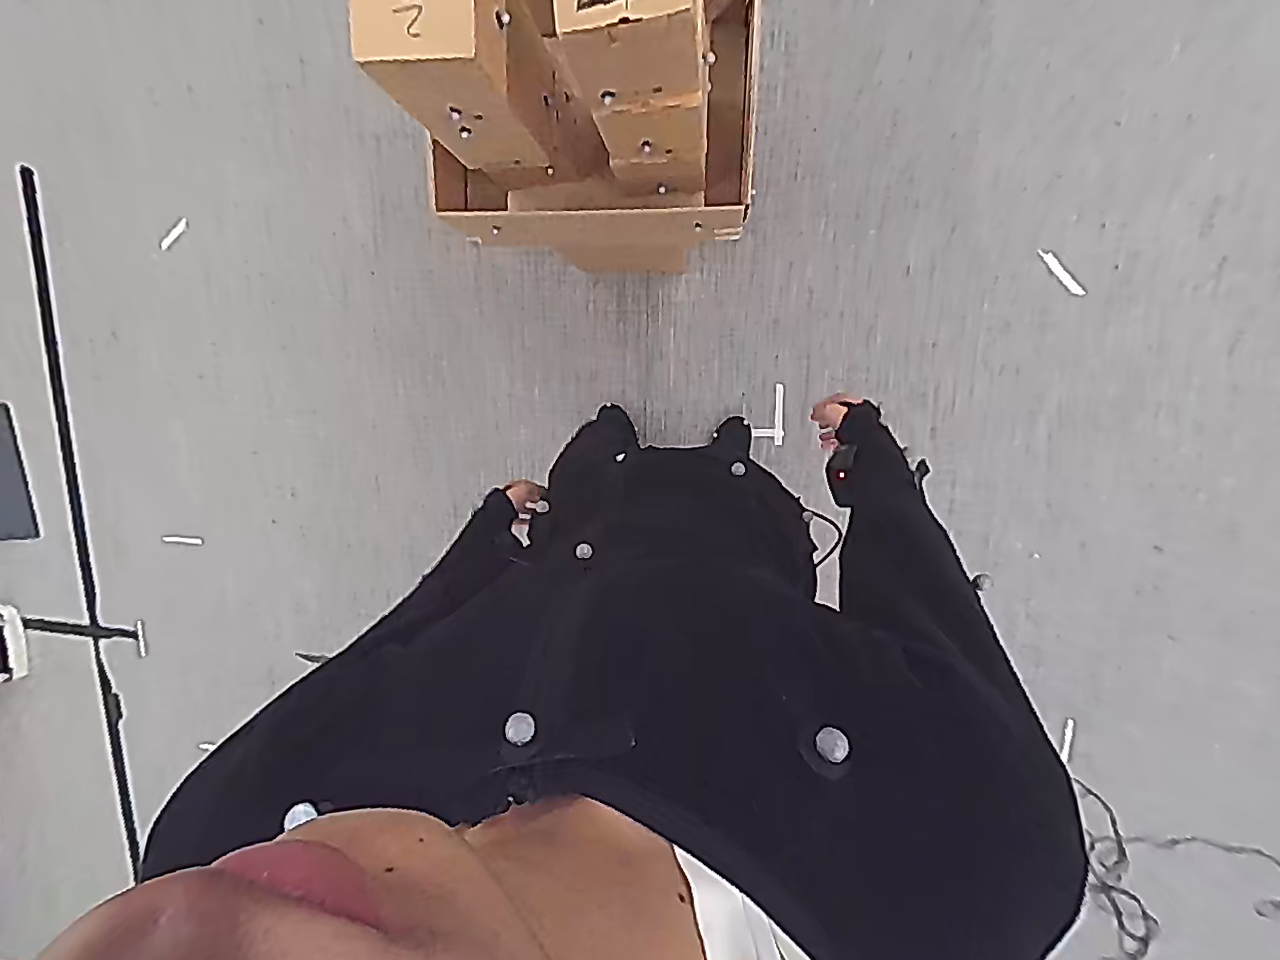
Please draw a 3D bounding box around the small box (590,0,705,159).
[{"bbox_3d":[0.017,-0.641,0.854,0.168,0.176,0.179,0,99,8],"label":"small box"}]

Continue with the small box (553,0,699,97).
[{"bbox_3d":[-0.013,-0.627,0.692,0.168,0.176,0.179,-3,98,9],"label":"small box"}]

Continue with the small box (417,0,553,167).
[{"bbox_3d":[-0.247,-0.646,0.891,0.168,0.176,0.179,3,98,9],"label":"small box"}]
